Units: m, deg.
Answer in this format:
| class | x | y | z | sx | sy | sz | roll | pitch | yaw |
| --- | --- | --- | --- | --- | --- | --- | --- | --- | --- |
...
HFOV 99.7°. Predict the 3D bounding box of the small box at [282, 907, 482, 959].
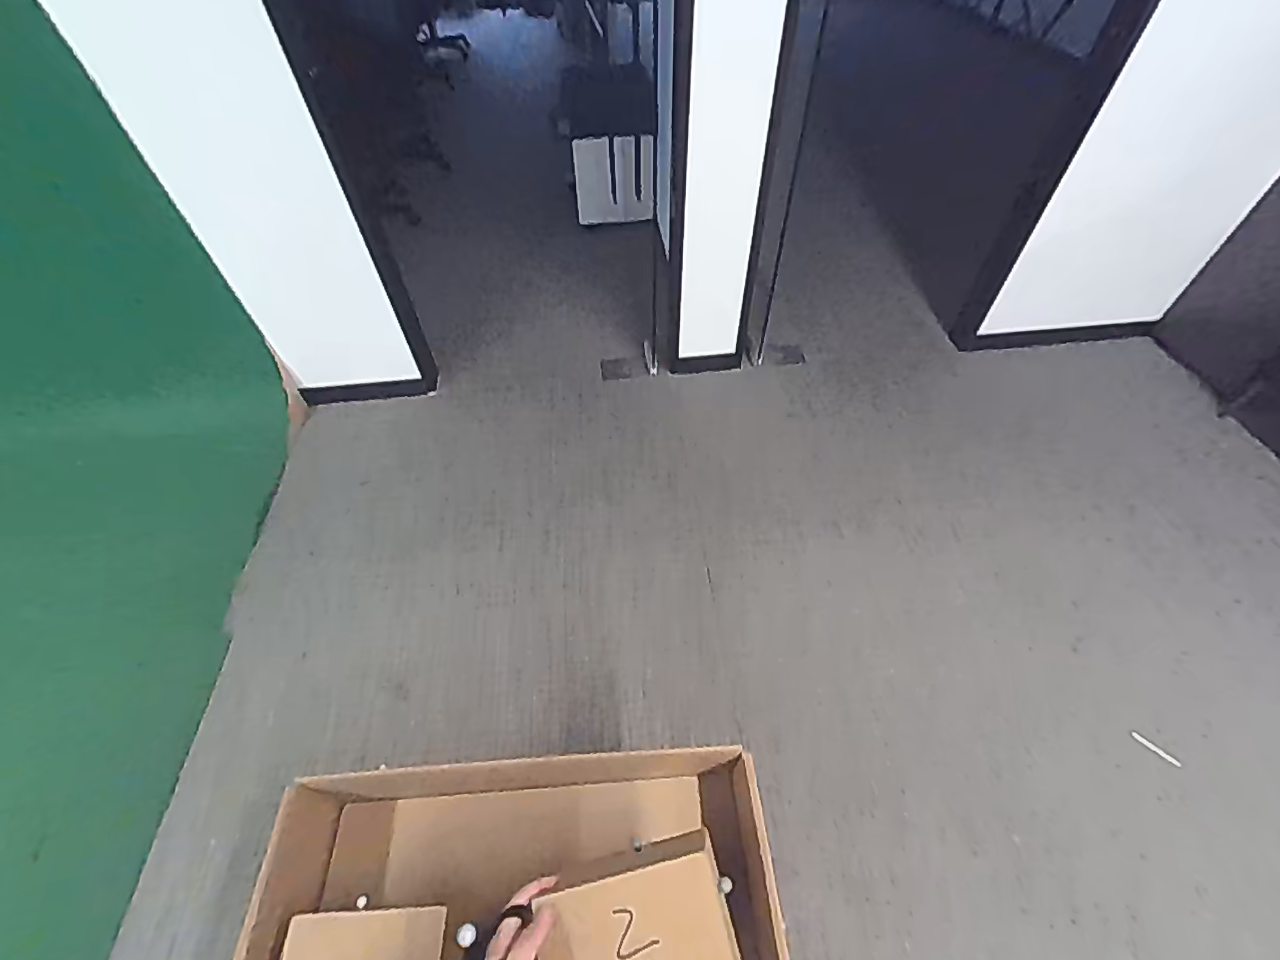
| class | x | y | z | sx | sy | sz | roll | pitch | yaw |
| --- | --- | --- | --- | --- | --- | --- | --- | --- | --- |
| small box | -0.296 | 0.595 | 0.614 | 0.179 | 0.176 | 0.168 | -2 | 51 | -1 |
